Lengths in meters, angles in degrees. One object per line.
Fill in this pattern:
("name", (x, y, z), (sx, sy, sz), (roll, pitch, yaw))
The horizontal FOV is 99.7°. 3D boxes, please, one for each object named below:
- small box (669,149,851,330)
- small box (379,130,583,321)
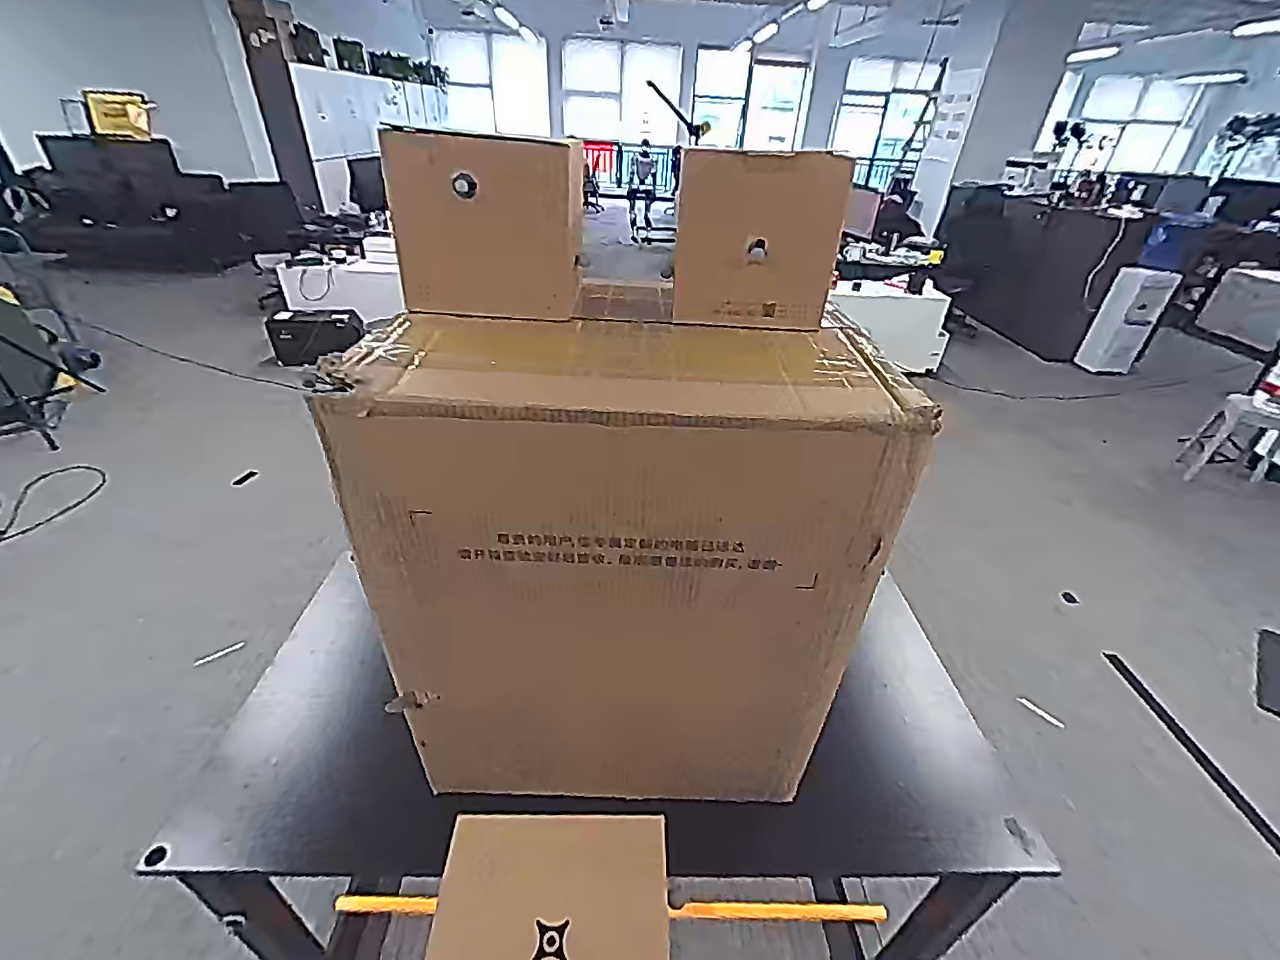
("small box", (0.122, -0.278, 0.619), (0.168, 0.176, 0.179), (3, 32, 2))
("small box", (-0.158, -0.282, 0.603), (0.179, 0.176, 0.168), (3, 32, -2))
